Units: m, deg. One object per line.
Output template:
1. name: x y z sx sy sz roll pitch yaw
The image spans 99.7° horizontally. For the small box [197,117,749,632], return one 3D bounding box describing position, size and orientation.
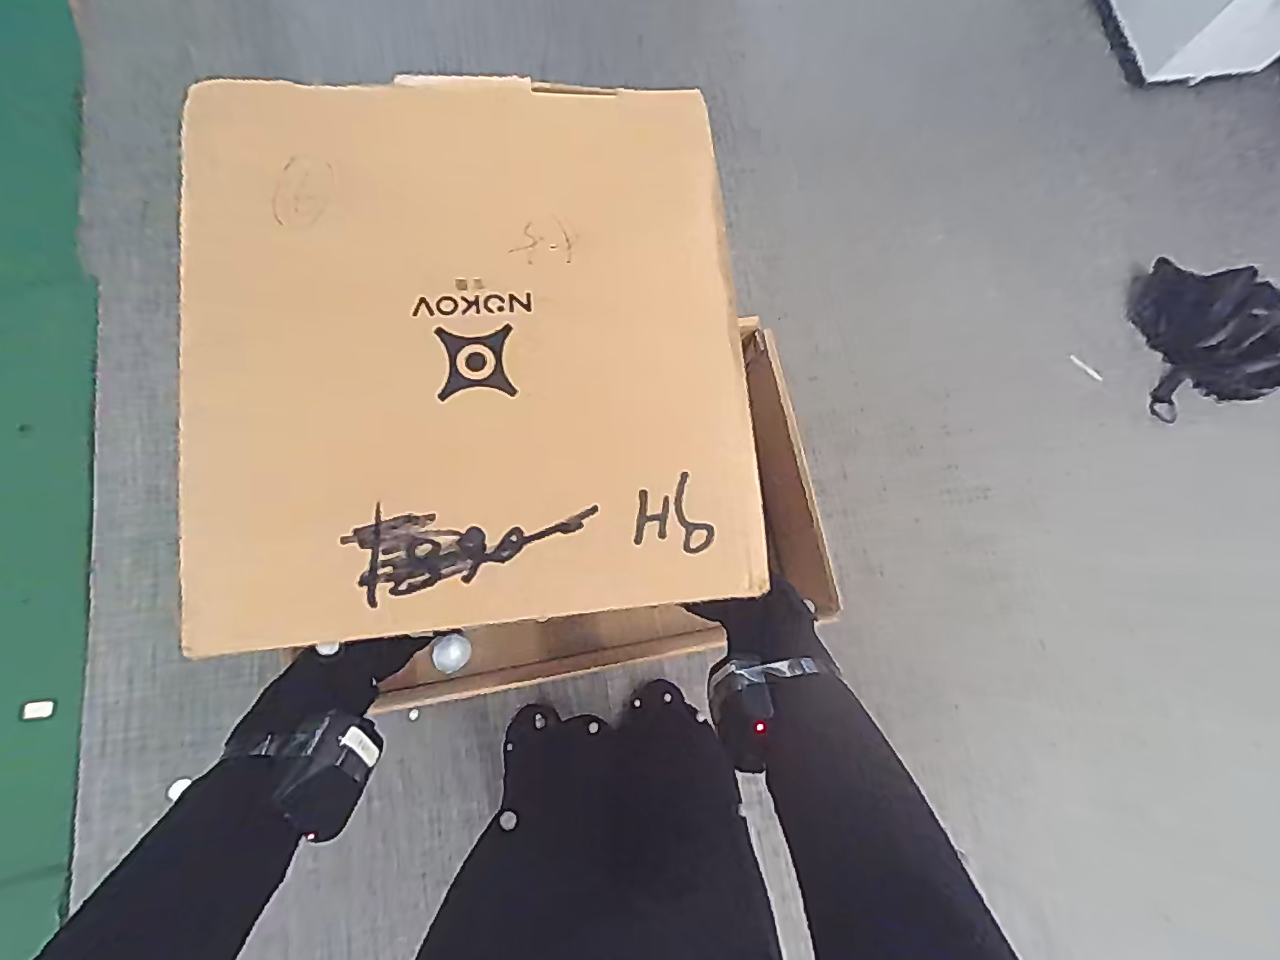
1. small box: -0.061 -0.030 0.257 0.168 0.176 0.179 -5 80 -6
